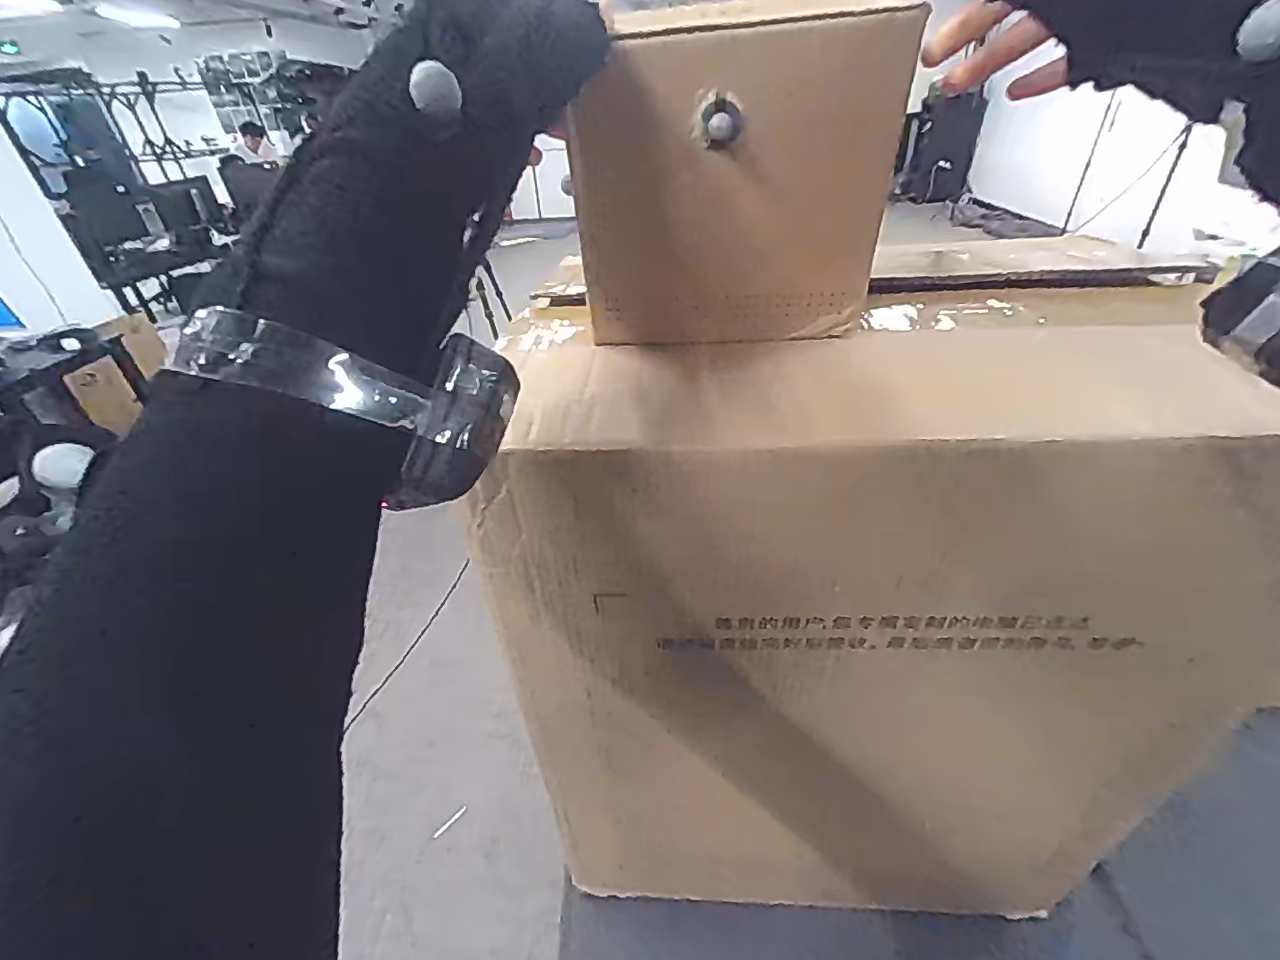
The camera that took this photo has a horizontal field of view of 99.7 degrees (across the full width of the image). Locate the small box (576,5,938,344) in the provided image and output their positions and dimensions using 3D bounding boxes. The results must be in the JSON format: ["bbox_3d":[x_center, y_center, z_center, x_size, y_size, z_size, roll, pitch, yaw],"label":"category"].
[{"bbox_3d":[0.066,-0.205,0.370,0.179,0.176,0.168,1,44,6],"label":"small box"}]
